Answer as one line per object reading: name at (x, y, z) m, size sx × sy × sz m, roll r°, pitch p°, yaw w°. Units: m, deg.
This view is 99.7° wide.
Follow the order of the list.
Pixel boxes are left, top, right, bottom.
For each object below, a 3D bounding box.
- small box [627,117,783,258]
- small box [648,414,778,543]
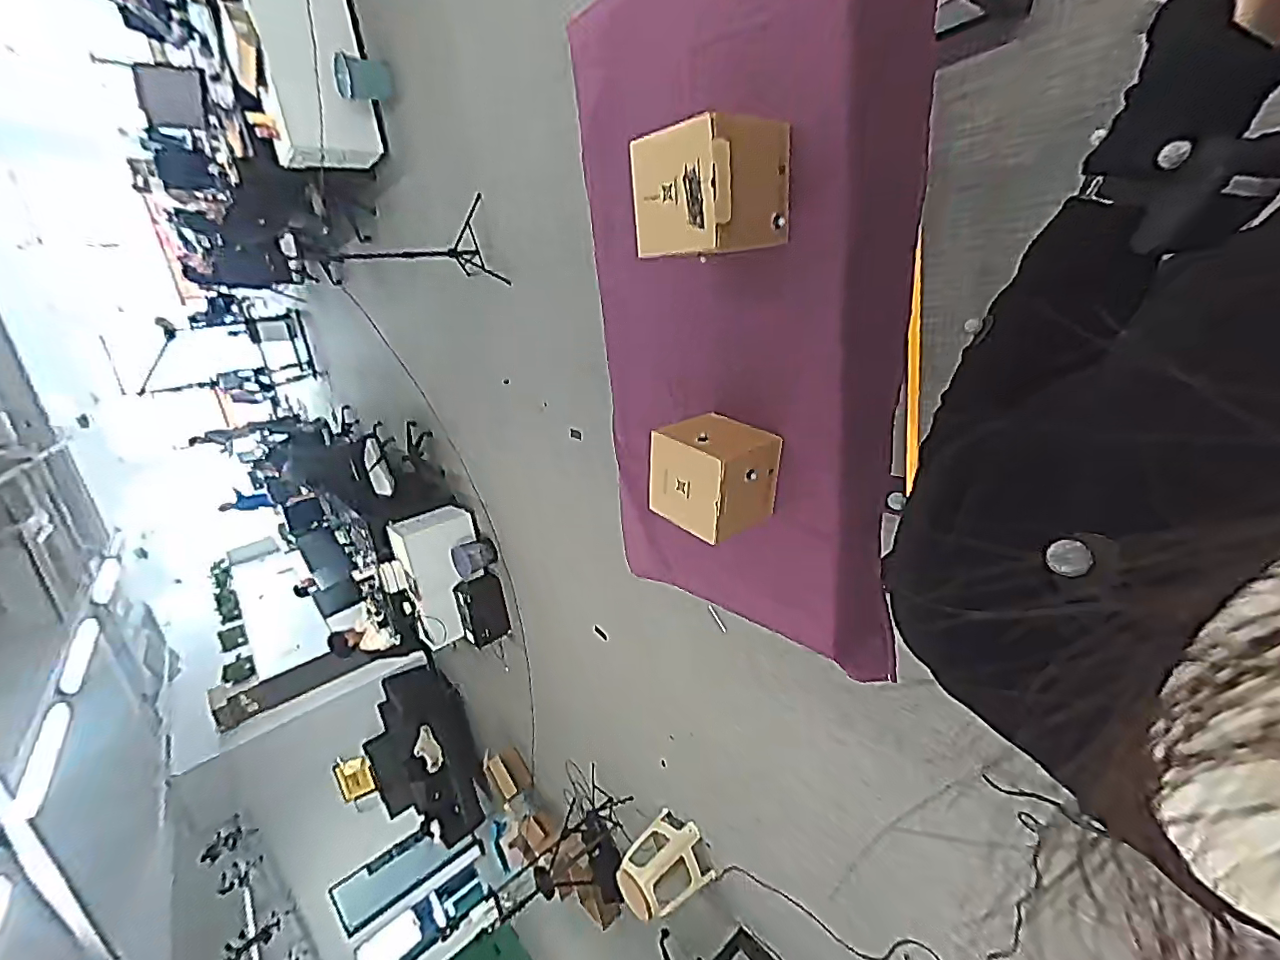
small box at (0.104, -0.441, 0.834) m, size 0.179 × 0.176 × 0.168 m, roll 20°, pitch 122°, yaw 47°
small box at (0.135, -0.013, 1.012) m, size 0.179 × 0.176 × 0.168 m, roll 29°, pitch 127°, yaw 42°
